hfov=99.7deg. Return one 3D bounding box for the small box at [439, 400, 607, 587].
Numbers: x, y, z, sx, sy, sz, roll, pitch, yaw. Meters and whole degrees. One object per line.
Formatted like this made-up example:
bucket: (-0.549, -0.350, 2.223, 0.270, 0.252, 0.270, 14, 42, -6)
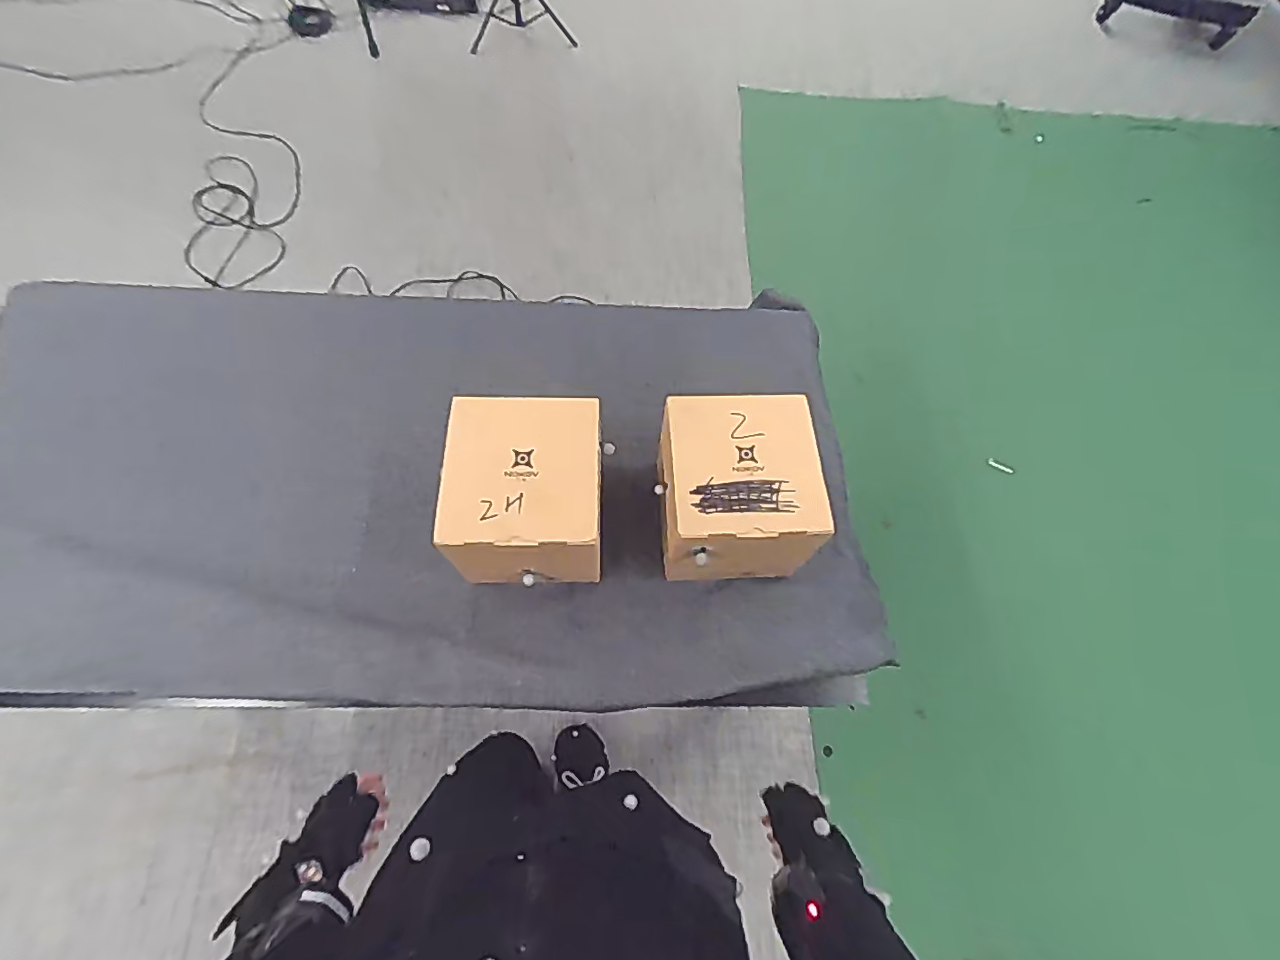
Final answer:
small box: (-0.125, 0.022, 0.651, 0.168, 0.176, 0.179, 0, 65, -3)
